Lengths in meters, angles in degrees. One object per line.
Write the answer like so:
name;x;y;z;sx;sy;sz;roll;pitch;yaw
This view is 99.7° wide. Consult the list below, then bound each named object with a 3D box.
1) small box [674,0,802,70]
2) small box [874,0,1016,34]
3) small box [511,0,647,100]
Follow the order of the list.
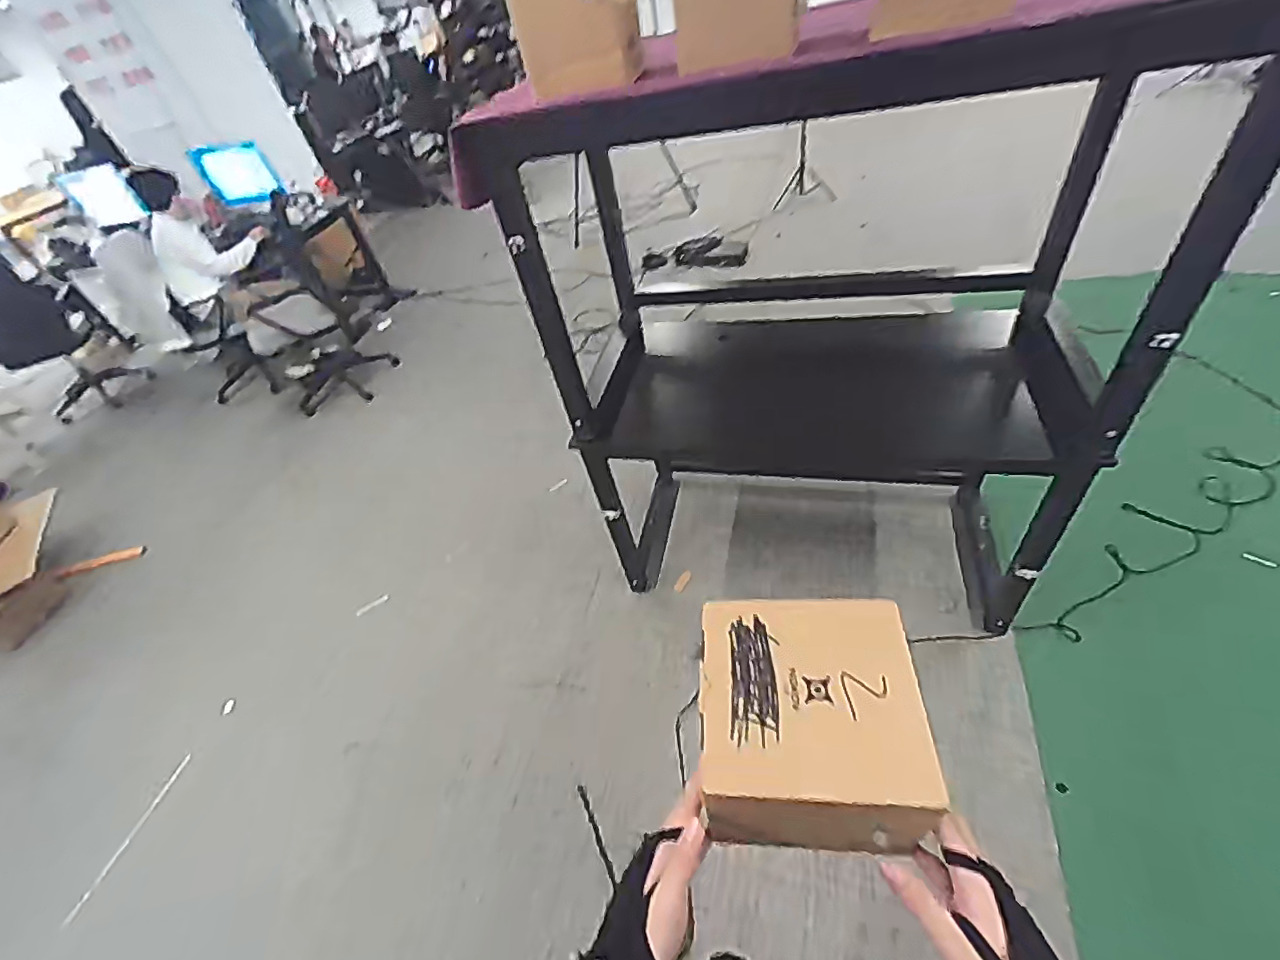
small box;0.151;-0.755;0.827;0.179;0.176;0.168;5;48;20
small box;0.421;-0.740;0.737;0.179;0.176;0.168;4;48;21
small box;-0.099;-0.763;0.908;0.179;0.176;0.168;1;46;16
